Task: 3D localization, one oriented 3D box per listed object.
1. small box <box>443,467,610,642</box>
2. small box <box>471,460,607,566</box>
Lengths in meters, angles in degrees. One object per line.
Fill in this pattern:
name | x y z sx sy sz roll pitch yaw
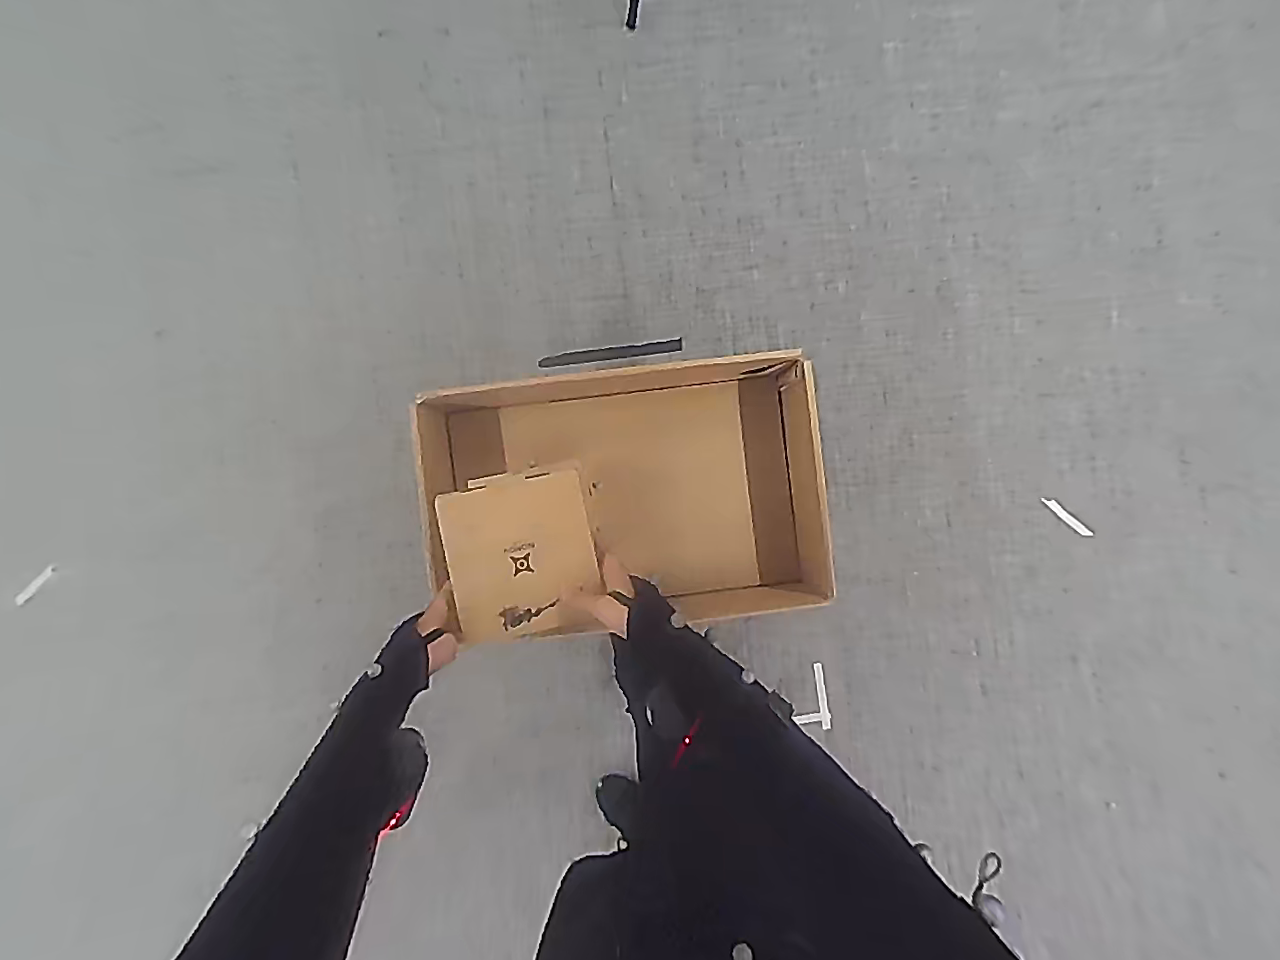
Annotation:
small box | -0.134 0.088 0.691 0.168 0.176 0.179 -11 88 -3
small box | -0.151 0.064 0.871 0.179 0.176 0.168 -11 89 -1
